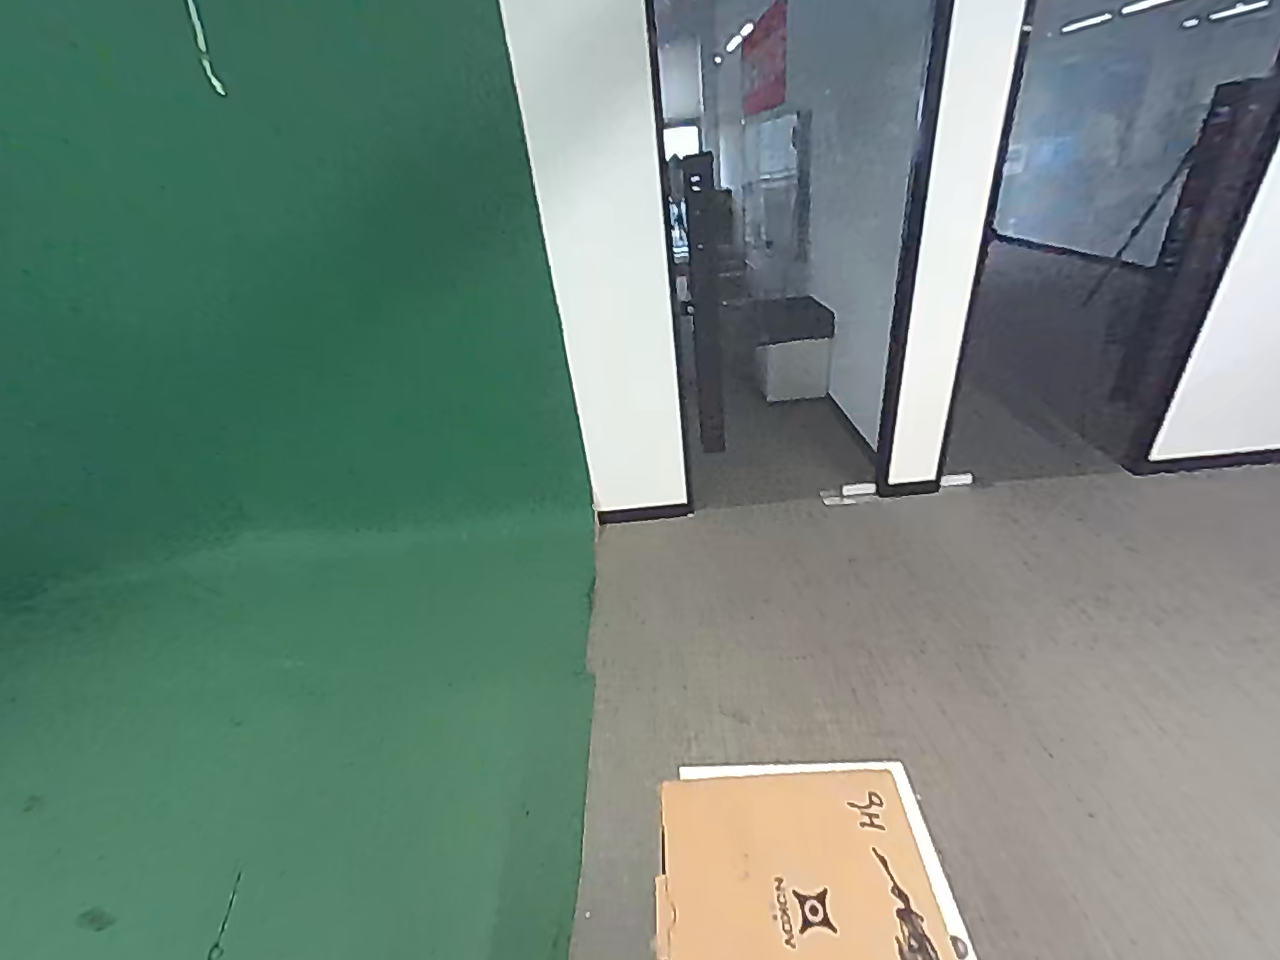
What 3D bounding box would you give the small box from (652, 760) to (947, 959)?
[{"bbox_3d":[0.104,0.332,0.401,0.179,0.176,0.168,-4,39,3],"label":"small box"}]
